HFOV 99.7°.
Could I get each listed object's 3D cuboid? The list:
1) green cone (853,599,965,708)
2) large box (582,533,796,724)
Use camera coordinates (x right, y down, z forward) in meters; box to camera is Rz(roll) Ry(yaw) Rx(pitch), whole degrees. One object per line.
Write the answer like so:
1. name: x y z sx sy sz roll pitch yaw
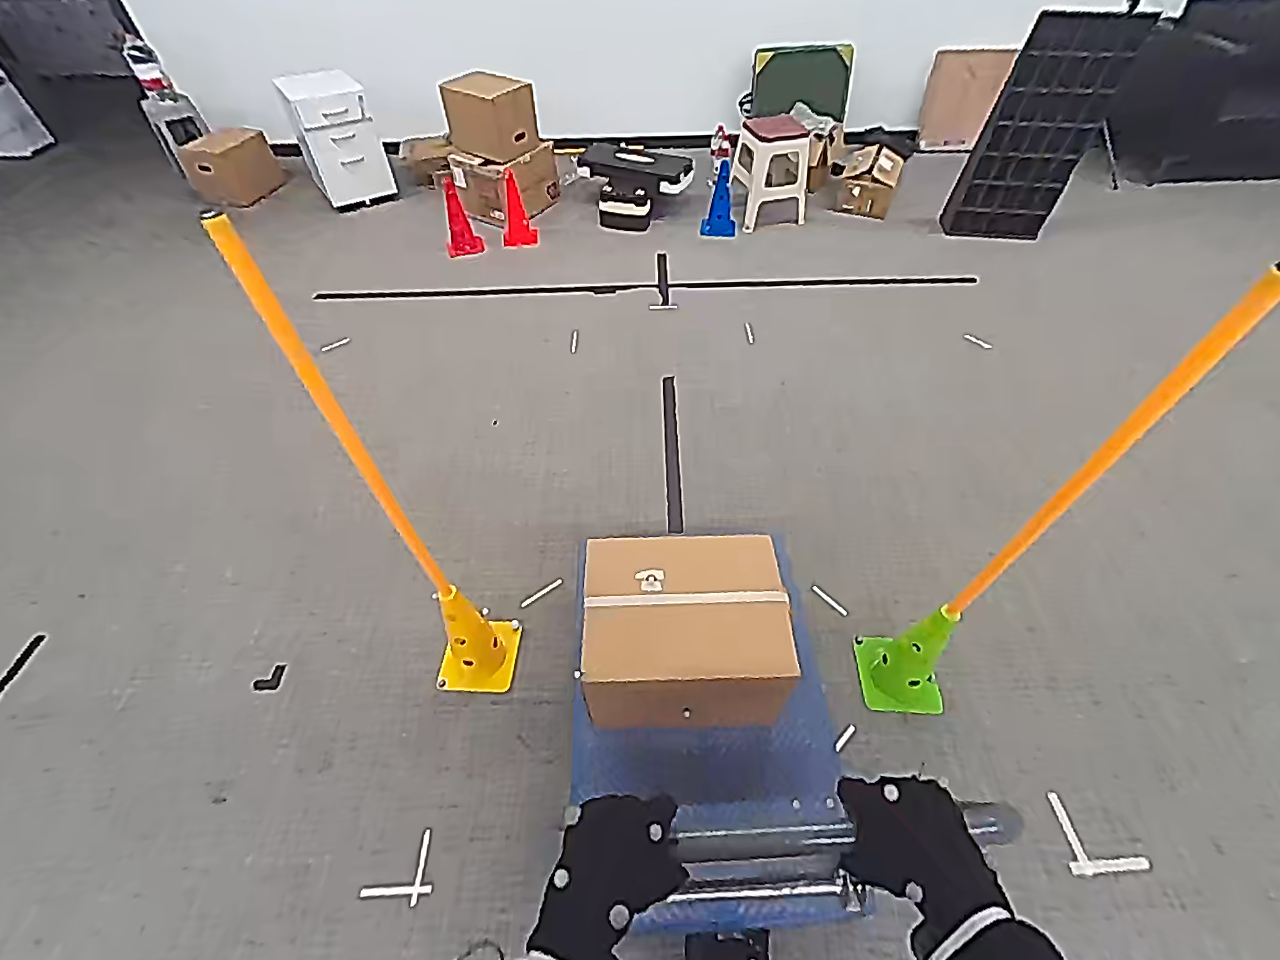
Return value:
1. green cone: 0.691 0.398 1.327 0.202 0.368 0.200 3 50 2
2. large box: 0.092 0.336 1.203 0.408 0.320 0.320 -2 50 1
